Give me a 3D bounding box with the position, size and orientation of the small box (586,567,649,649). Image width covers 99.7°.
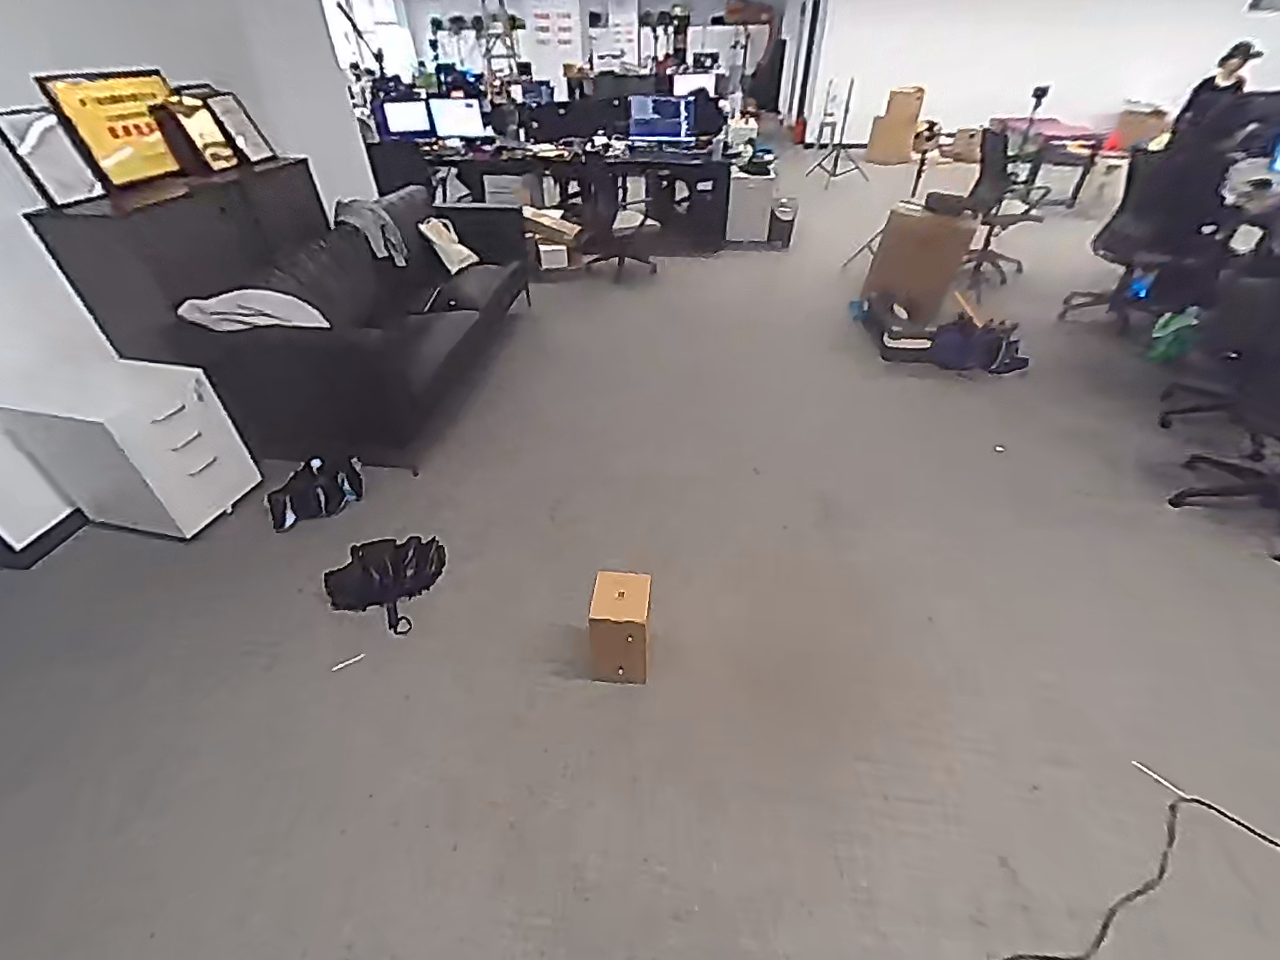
[{"bbox_3d":[-0.061,0.384,1.617,0.168,0.176,0.179,3,40,4],"label":"small box"}]

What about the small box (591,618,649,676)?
[{"bbox_3d":[-0.058,0.506,1.725,0.168,0.176,0.179,2,41,4],"label":"small box"}]
